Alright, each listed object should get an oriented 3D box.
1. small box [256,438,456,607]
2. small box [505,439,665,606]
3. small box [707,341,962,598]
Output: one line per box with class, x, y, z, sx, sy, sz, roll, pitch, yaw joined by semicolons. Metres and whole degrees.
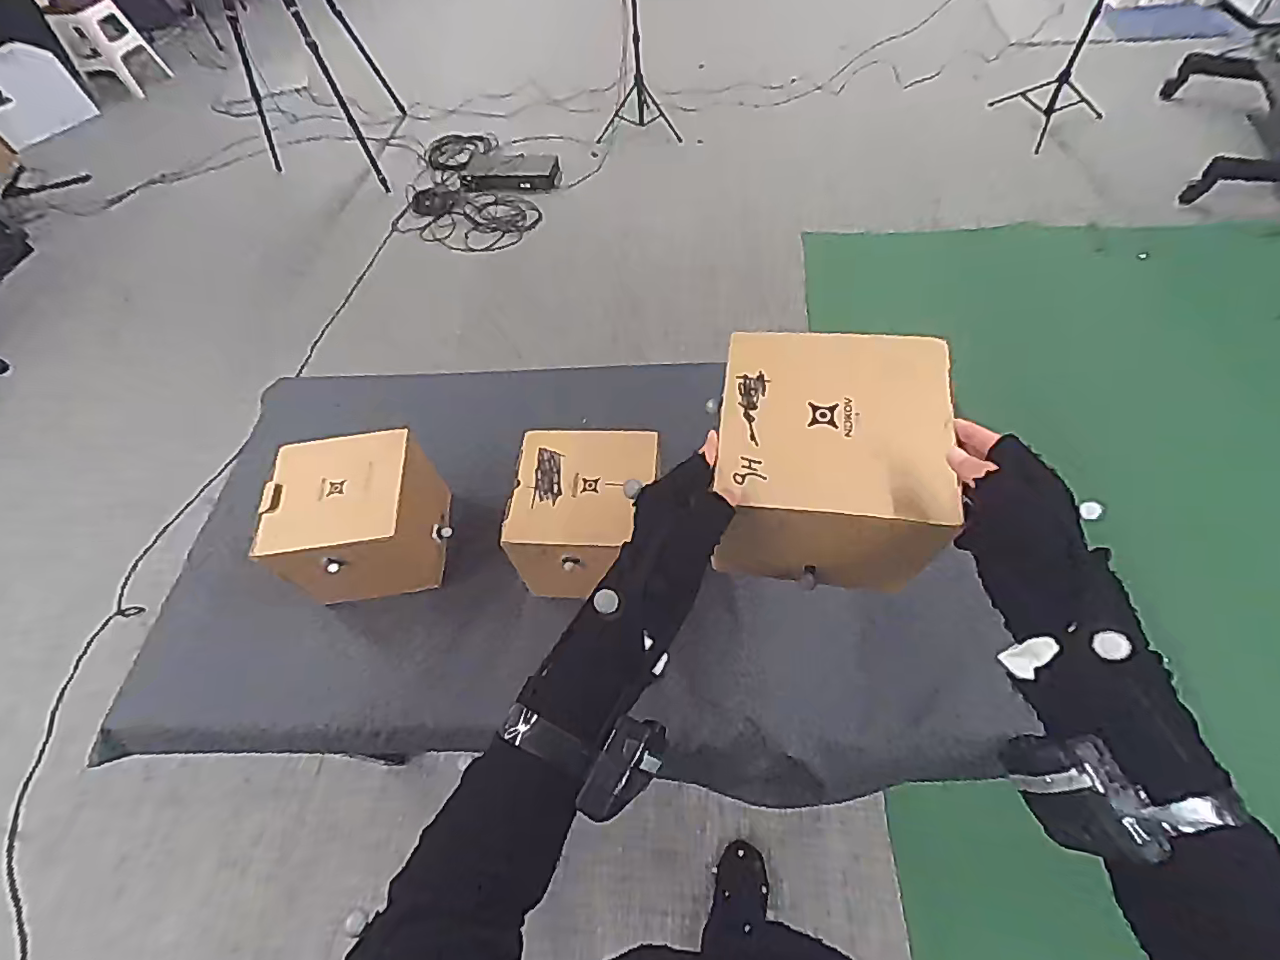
small box;-0.375;0.065;0.751;0.179;0.176;0.168;-8;58;-1
small box;-0.060;0.061;0.724;0.179;0.176;0.168;1;57;5
small box;0.157;-0.001;0.486;0.179;0.176;0.168;6;63;11
